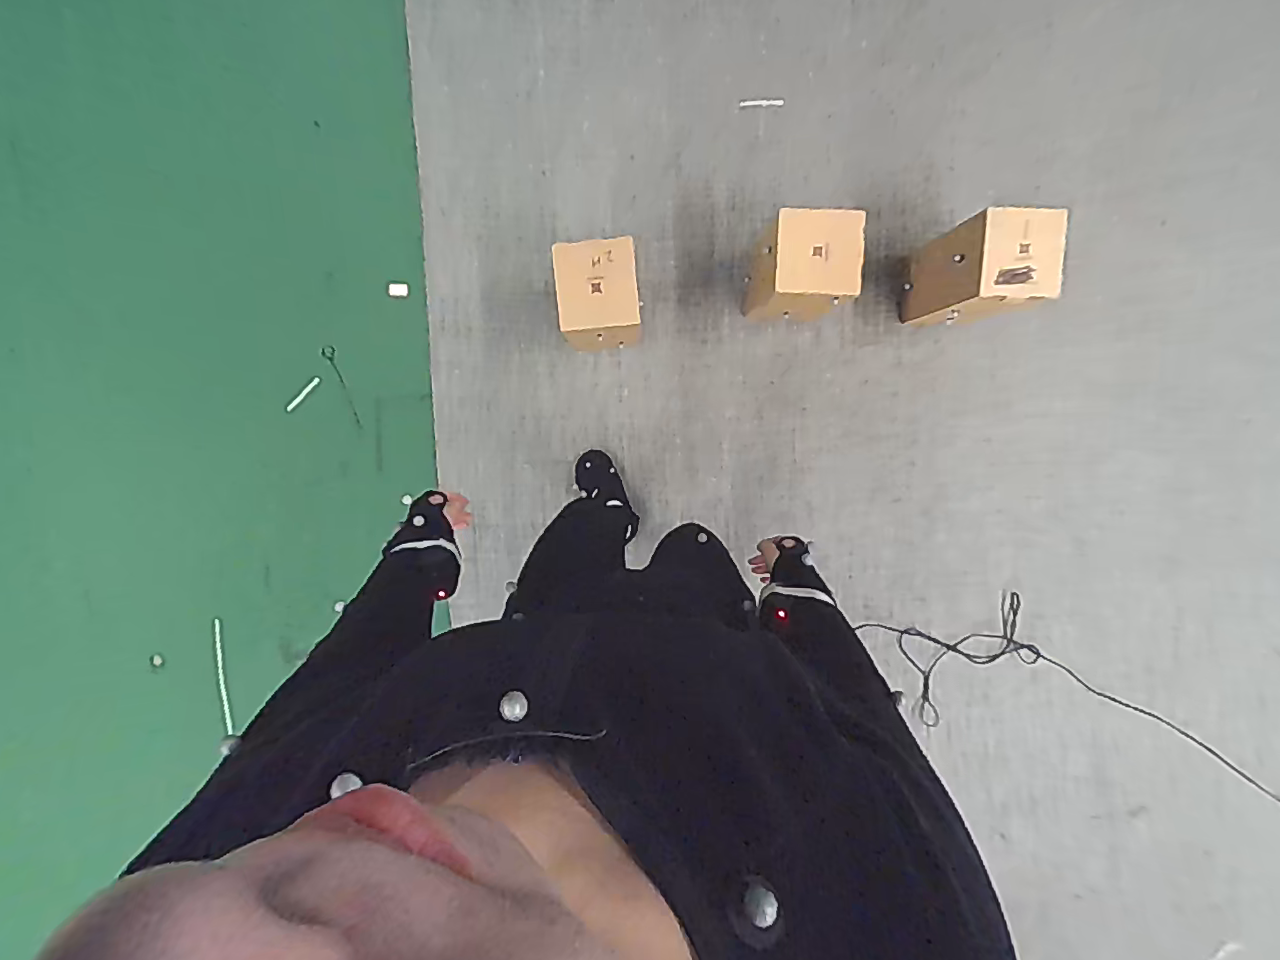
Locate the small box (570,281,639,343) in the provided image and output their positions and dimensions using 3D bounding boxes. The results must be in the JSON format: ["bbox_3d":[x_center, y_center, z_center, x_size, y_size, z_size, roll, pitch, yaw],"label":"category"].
[{"bbox_3d":[-0.087,-0.435,1.329,0.168,0.176,0.179,-3,96,0],"label":"small box"}]

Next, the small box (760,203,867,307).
[{"bbox_3d":[0.362,-0.473,1.160,0.179,0.176,0.168,2,96,0],"label":"small box"}]

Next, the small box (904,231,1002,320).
[{"bbox_3d":[0.769,-0.492,1.323,0.168,0.176,0.179,0,97,-1],"label":"small box"}]

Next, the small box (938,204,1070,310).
[{"bbox_3d":[0.767,-0.468,1.160,0.168,0.176,0.179,2,96,0],"label":"small box"}]

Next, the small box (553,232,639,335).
[{"bbox_3d":[-0.088,-0.413,1.166,0.168,0.176,0.179,-5,96,-1],"label":"small box"}]
